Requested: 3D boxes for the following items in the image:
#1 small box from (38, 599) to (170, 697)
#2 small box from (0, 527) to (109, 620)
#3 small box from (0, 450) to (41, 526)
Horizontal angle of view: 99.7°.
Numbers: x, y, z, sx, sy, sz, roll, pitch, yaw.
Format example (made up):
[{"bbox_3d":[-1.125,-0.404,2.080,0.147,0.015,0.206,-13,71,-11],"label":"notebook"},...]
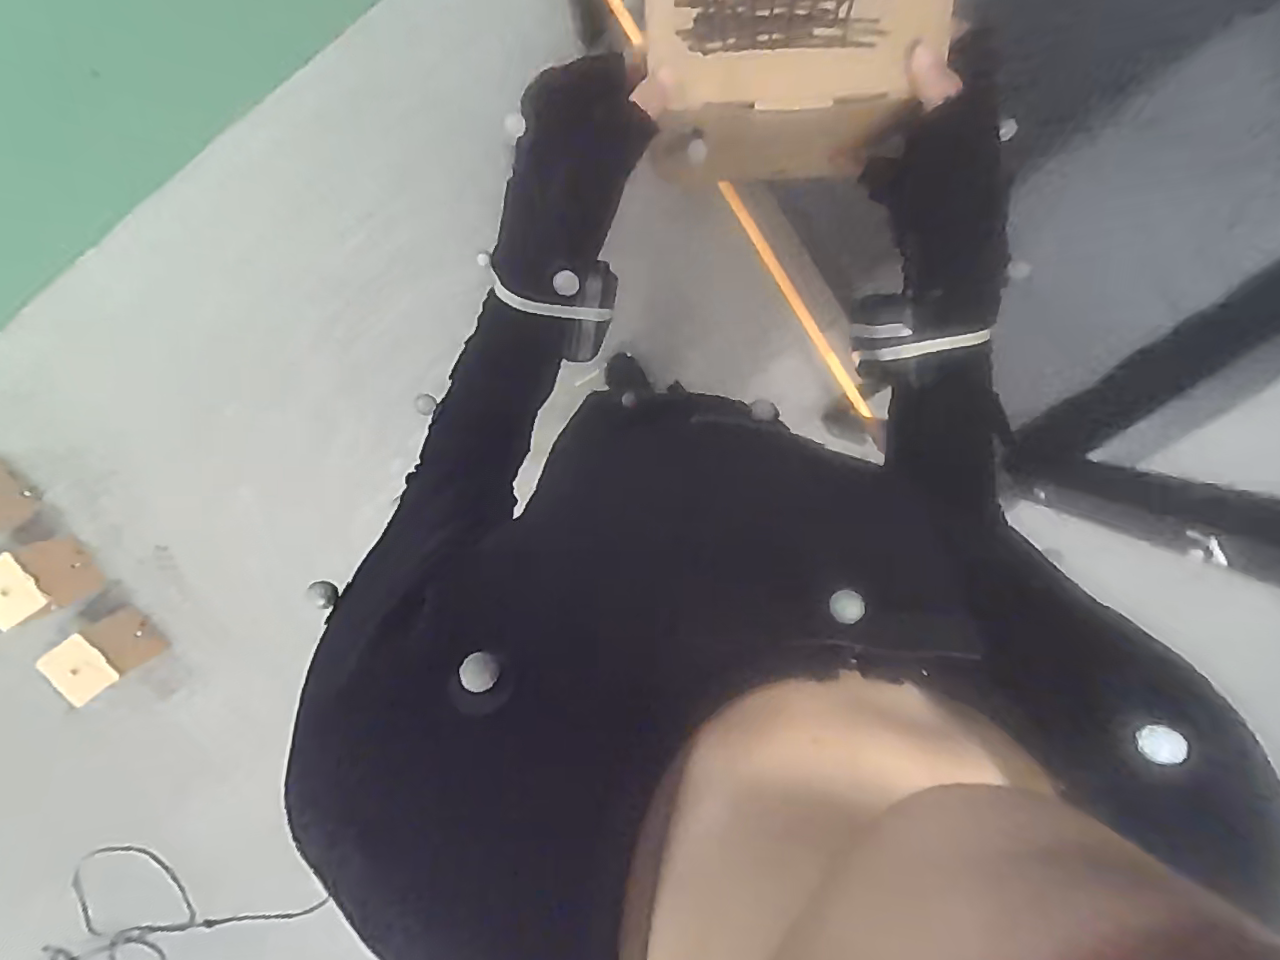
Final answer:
[{"bbox_3d":[-1.527,0.477,1.552,0.179,0.176,0.168,-33,99,7],"label":"small box"},{"bbox_3d":[-1.675,0.256,1.518,0.179,0.176,0.168,-31,98,7],"label":"small box"},{"bbox_3d":[-1.823,0.035,1.479,0.179,0.176,0.168,-34,98,8],"label":"small box"}]
